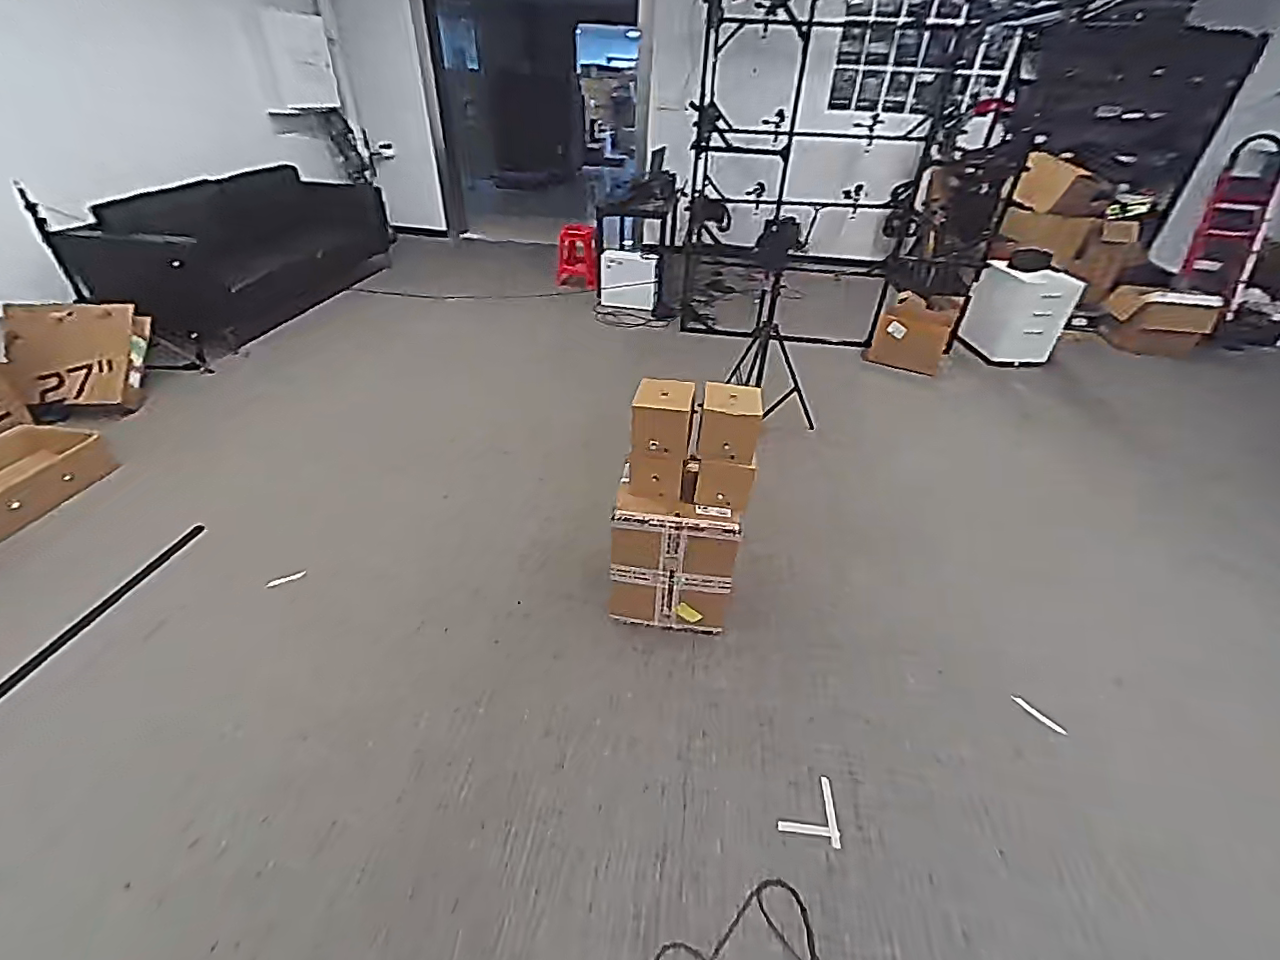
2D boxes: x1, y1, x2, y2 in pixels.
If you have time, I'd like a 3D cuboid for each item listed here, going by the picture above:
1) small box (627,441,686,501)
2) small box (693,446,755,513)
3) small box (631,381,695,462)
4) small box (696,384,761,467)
[{"bbox_3d":[0.058,-0.052,1.723,0.168,0.176,0.179,7,38,8],"label":"small box"},{"bbox_3d":[0.264,-0.023,1.699,0.168,0.176,0.179,9,38,6],"label":"small box"},{"bbox_3d":[0.070,-0.177,1.617,0.168,0.176,0.179,5,39,9],"label":"small box"},{"bbox_3d":[0.259,-0.163,1.611,0.168,0.176,0.179,7,37,4],"label":"small box"}]
